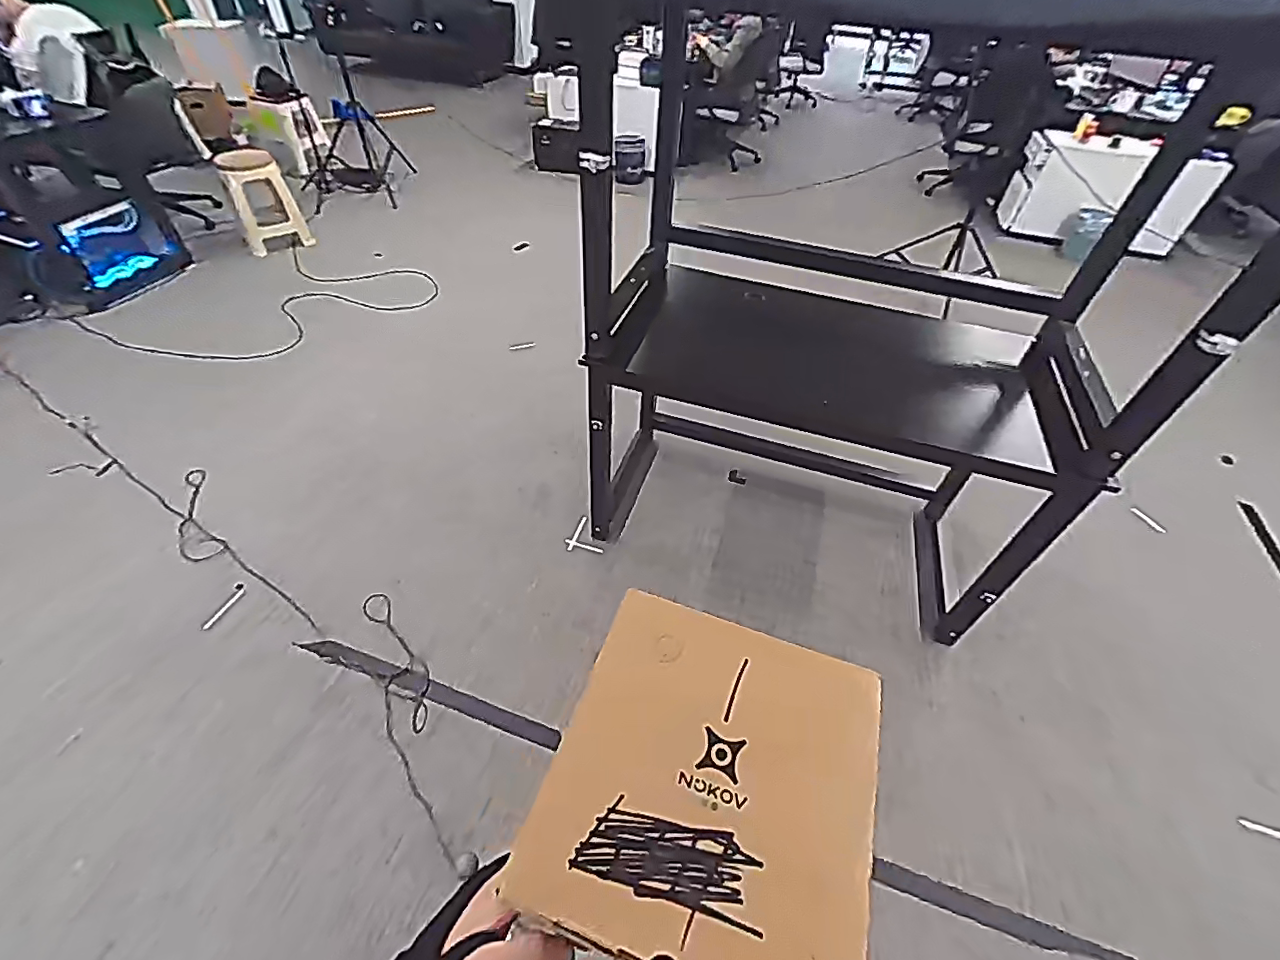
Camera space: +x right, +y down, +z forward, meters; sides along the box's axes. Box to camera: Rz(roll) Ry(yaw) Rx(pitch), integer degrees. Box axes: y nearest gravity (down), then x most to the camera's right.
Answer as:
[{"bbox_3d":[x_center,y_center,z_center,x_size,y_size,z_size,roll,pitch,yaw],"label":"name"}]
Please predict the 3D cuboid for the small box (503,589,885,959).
[{"bbox_3d":[0.038,0.207,0.345,0.168,0.176,0.179,17,48,11],"label":"small box"}]
